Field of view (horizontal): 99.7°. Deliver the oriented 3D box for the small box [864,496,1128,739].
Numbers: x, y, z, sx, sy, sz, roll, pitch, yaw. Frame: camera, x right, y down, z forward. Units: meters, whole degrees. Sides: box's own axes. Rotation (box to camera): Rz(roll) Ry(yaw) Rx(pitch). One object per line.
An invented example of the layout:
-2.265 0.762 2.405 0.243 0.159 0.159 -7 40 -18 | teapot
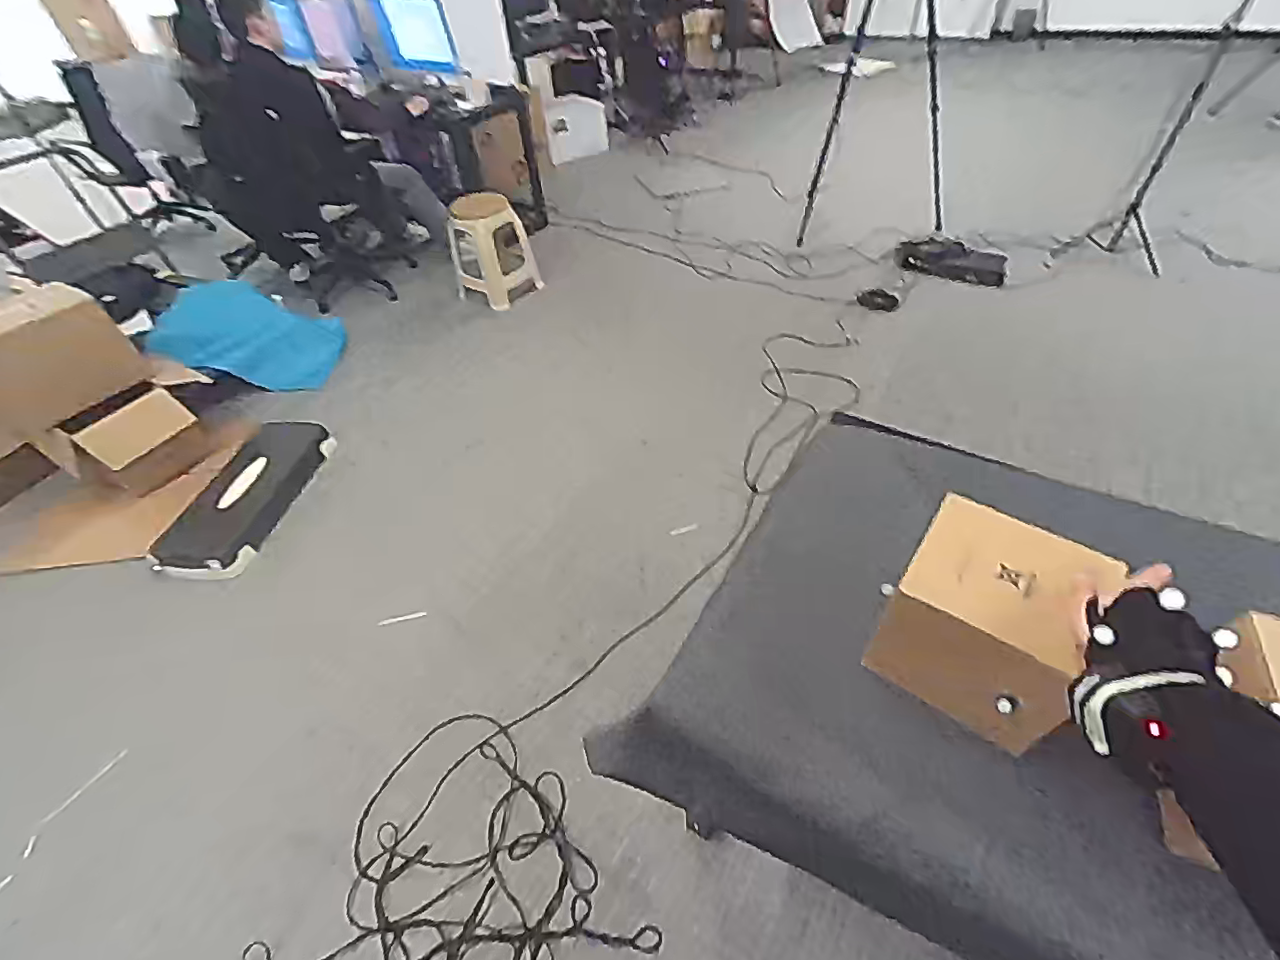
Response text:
0.379 0.155 0.599 0.179 0.176 0.168 27 53 29 | small box
